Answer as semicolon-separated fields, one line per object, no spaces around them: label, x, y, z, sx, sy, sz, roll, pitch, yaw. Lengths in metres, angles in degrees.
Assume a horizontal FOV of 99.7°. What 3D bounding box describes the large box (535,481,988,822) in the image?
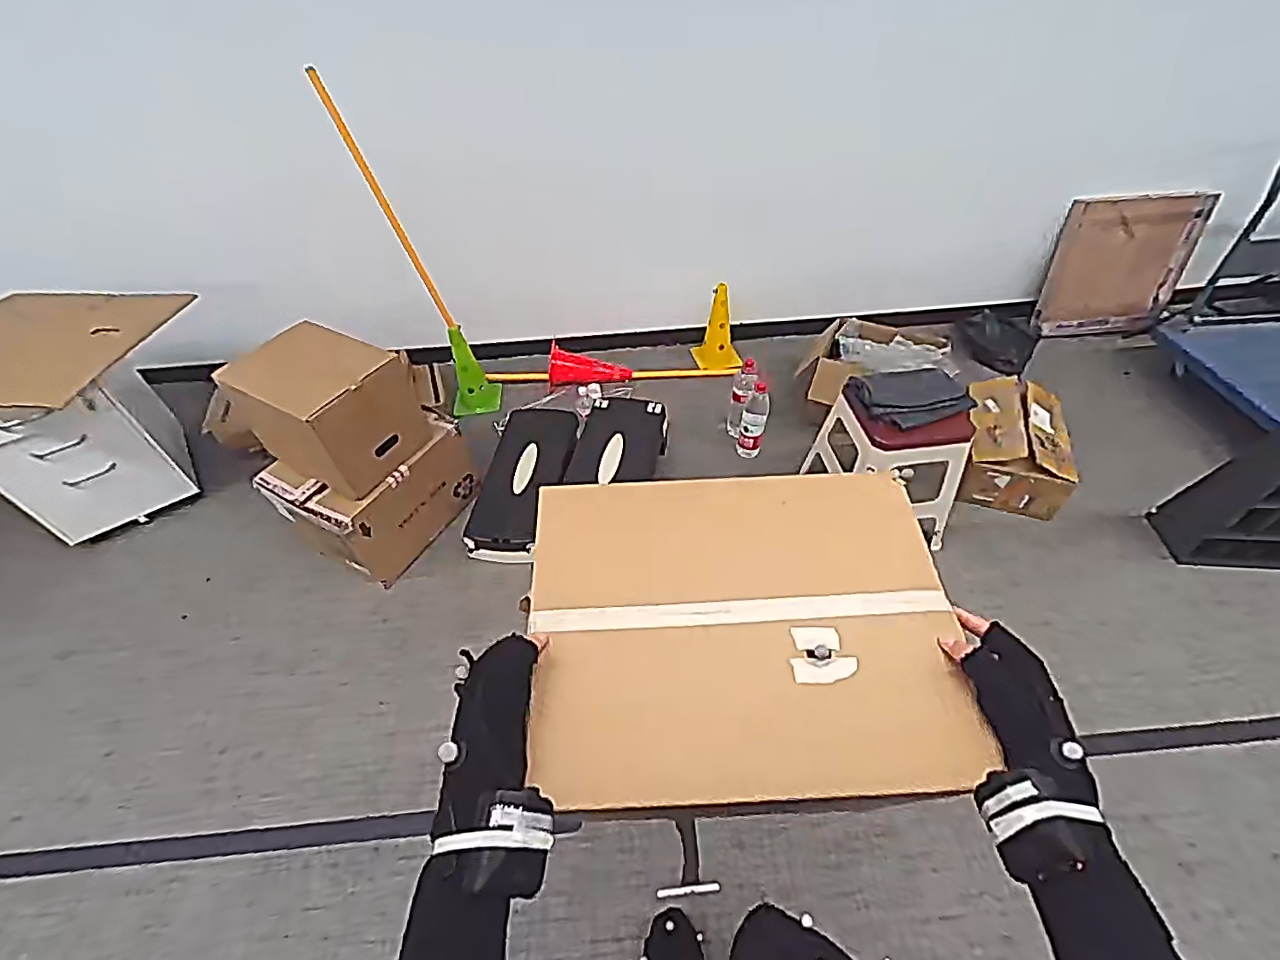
large box;0.098;0.222;0.668;0.408;0.320;0.320;-3;57;-1
